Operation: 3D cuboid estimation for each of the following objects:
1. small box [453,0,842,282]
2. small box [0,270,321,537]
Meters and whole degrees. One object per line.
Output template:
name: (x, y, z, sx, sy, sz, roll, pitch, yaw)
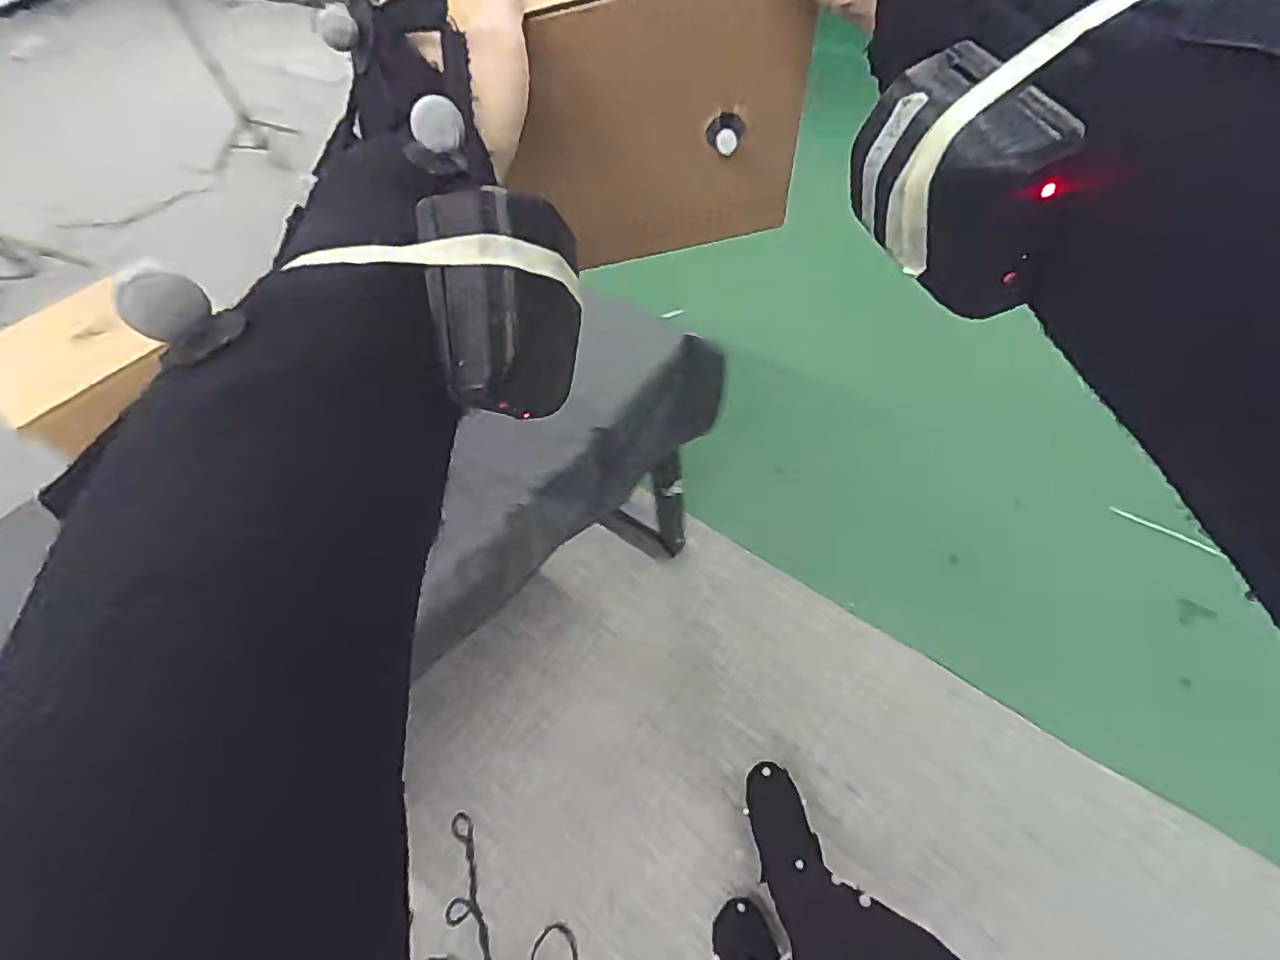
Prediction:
small box: (0.004, -0.253, 0.331, 0.179, 0.176, 0.168, -11, 71, 6)
small box: (-0.475, -0.074, 0.545, 0.168, 0.176, 0.179, 29, 62, 25)
